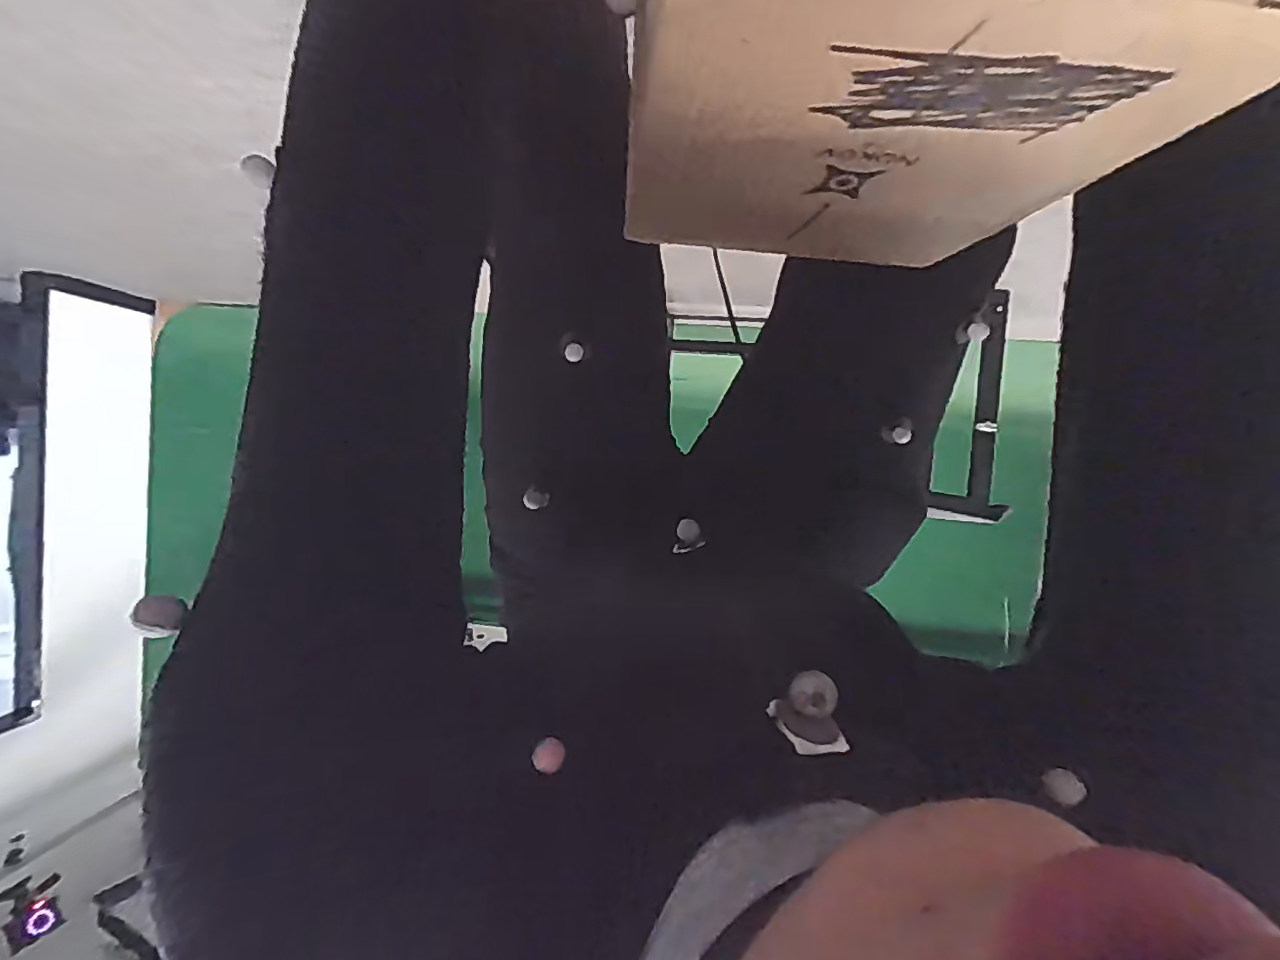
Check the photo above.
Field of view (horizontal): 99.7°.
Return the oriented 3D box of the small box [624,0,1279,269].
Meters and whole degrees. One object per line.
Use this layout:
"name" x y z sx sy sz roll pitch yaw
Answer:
"small box" 0.085 -0.191 0.191 0.168 0.176 0.179 3 -175 -6
